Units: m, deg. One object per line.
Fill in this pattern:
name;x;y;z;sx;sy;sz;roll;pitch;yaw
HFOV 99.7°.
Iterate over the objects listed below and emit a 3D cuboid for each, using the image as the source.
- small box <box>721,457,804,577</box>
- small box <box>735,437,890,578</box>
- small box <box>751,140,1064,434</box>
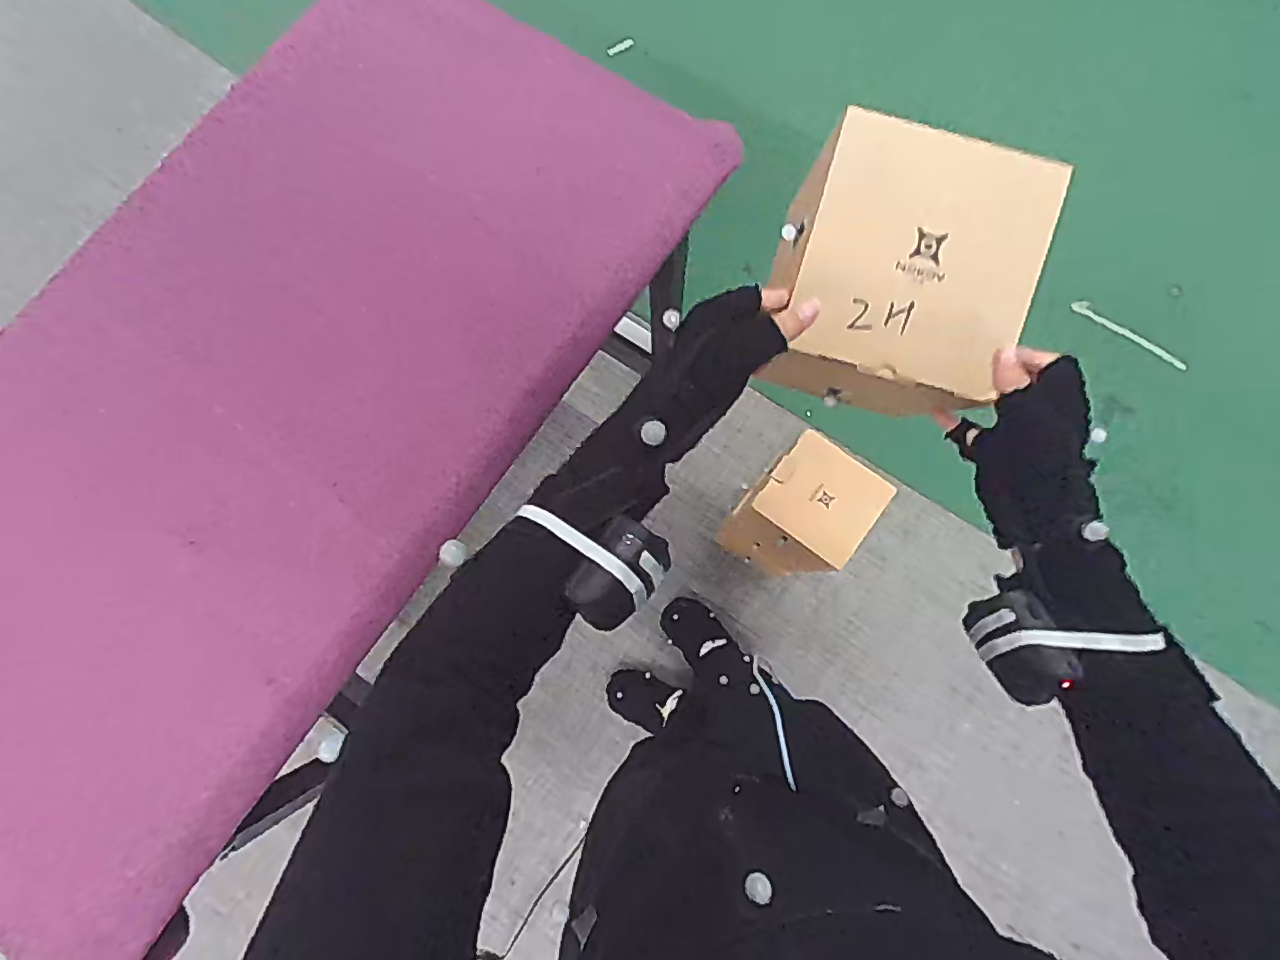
small box;0.286;0.080;1.109;0.179;0.176;0.168;38;83;8
small box;0.290;0.053;0.949;0.179;0.176;0.168;37;83;8
small box;0.211;-0.148;0.482;0.168;0.176;0.179;18;94;0
